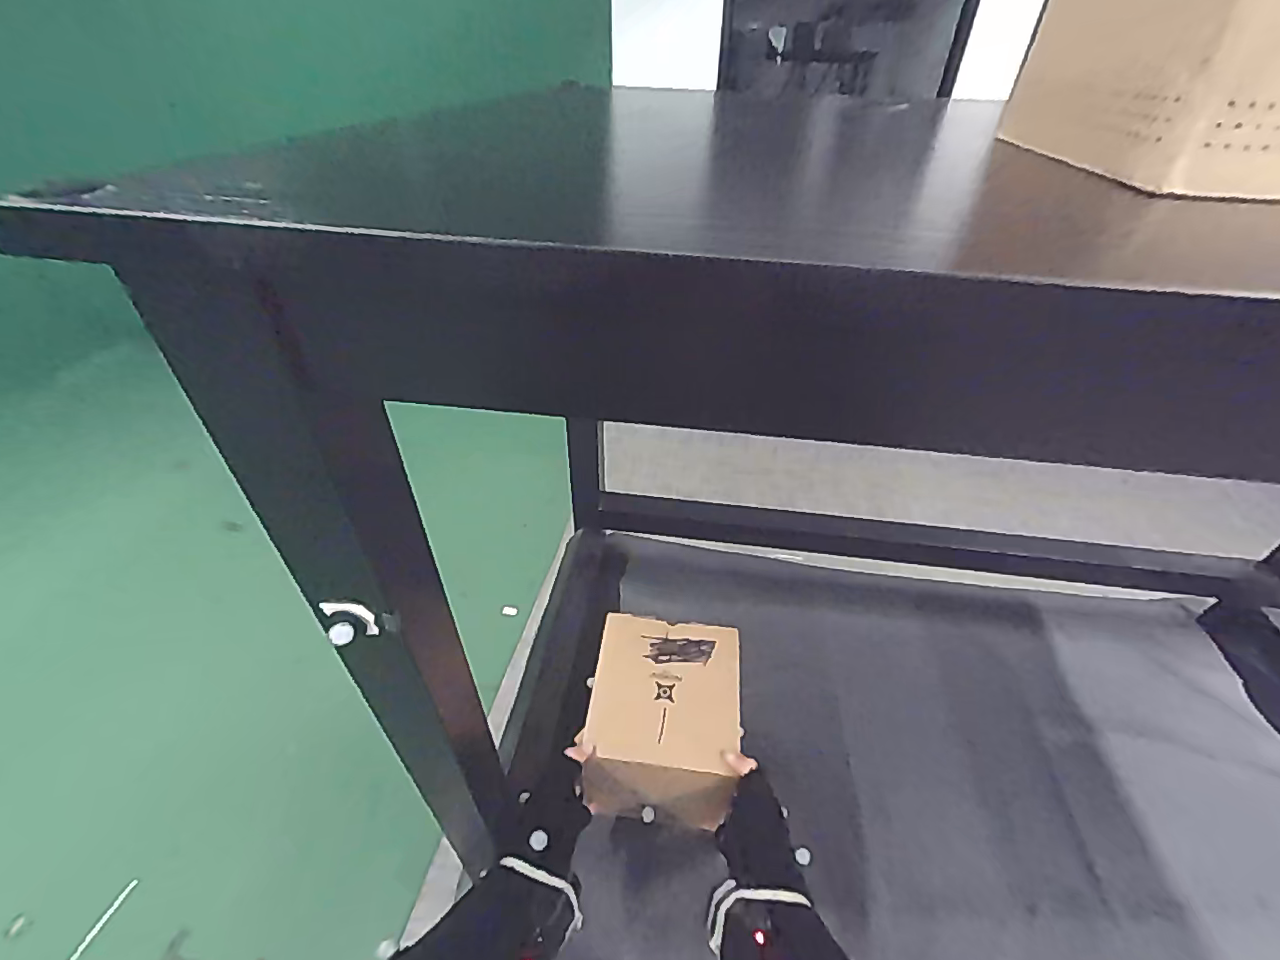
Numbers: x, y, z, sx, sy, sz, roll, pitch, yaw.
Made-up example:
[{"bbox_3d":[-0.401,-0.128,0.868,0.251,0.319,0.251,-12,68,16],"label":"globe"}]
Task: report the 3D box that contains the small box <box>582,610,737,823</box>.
[{"bbox_3d":[0.025,0.291,0.671,0.168,0.176,0.179,6,42,4],"label":"small box"}]
